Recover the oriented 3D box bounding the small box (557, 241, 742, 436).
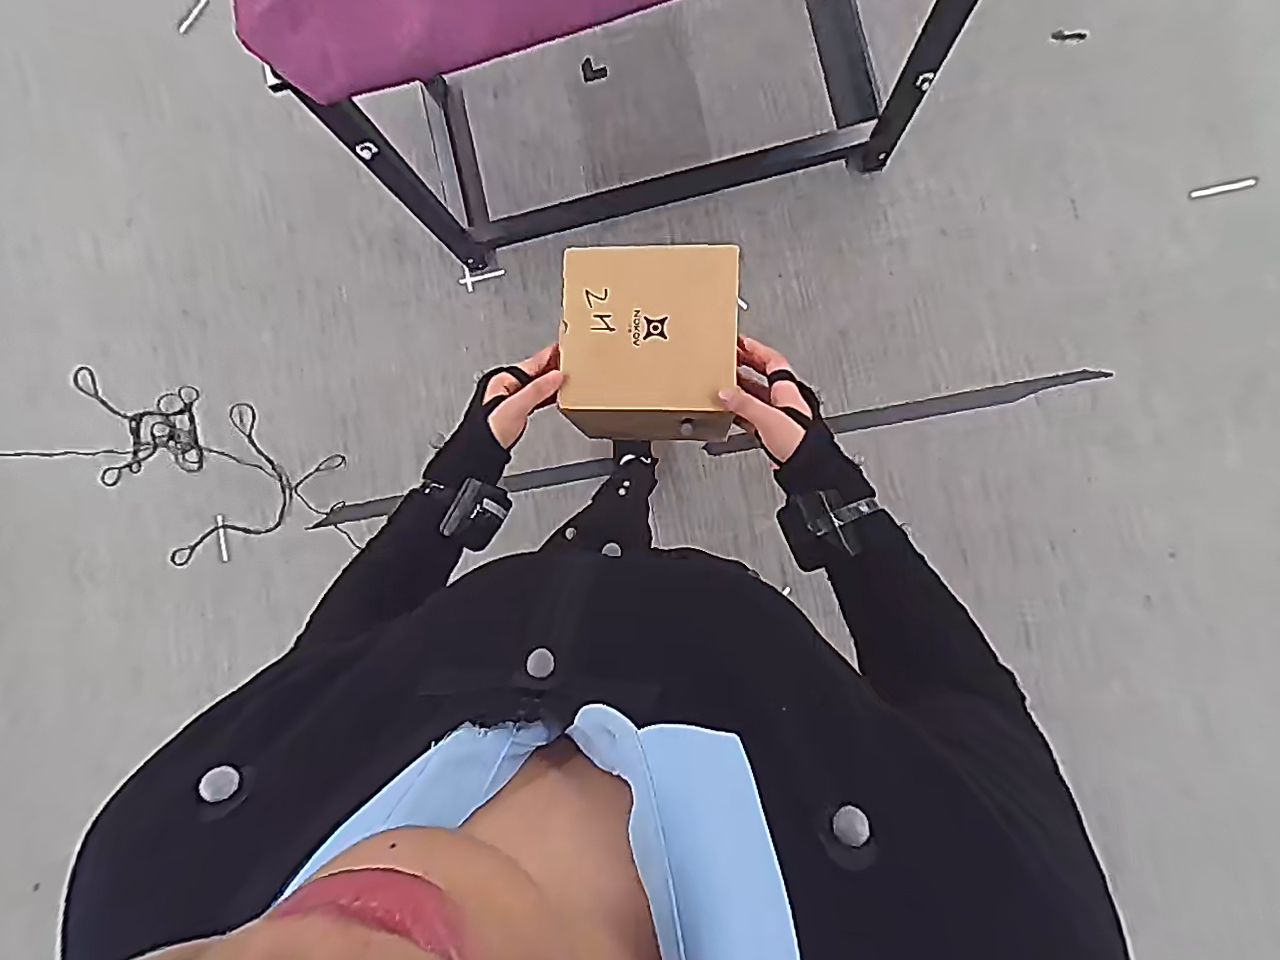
[{"bbox_3d":[0.017,-0.146,0.604,0.179,0.176,0.168,2,84,6],"label":"small box"}]
